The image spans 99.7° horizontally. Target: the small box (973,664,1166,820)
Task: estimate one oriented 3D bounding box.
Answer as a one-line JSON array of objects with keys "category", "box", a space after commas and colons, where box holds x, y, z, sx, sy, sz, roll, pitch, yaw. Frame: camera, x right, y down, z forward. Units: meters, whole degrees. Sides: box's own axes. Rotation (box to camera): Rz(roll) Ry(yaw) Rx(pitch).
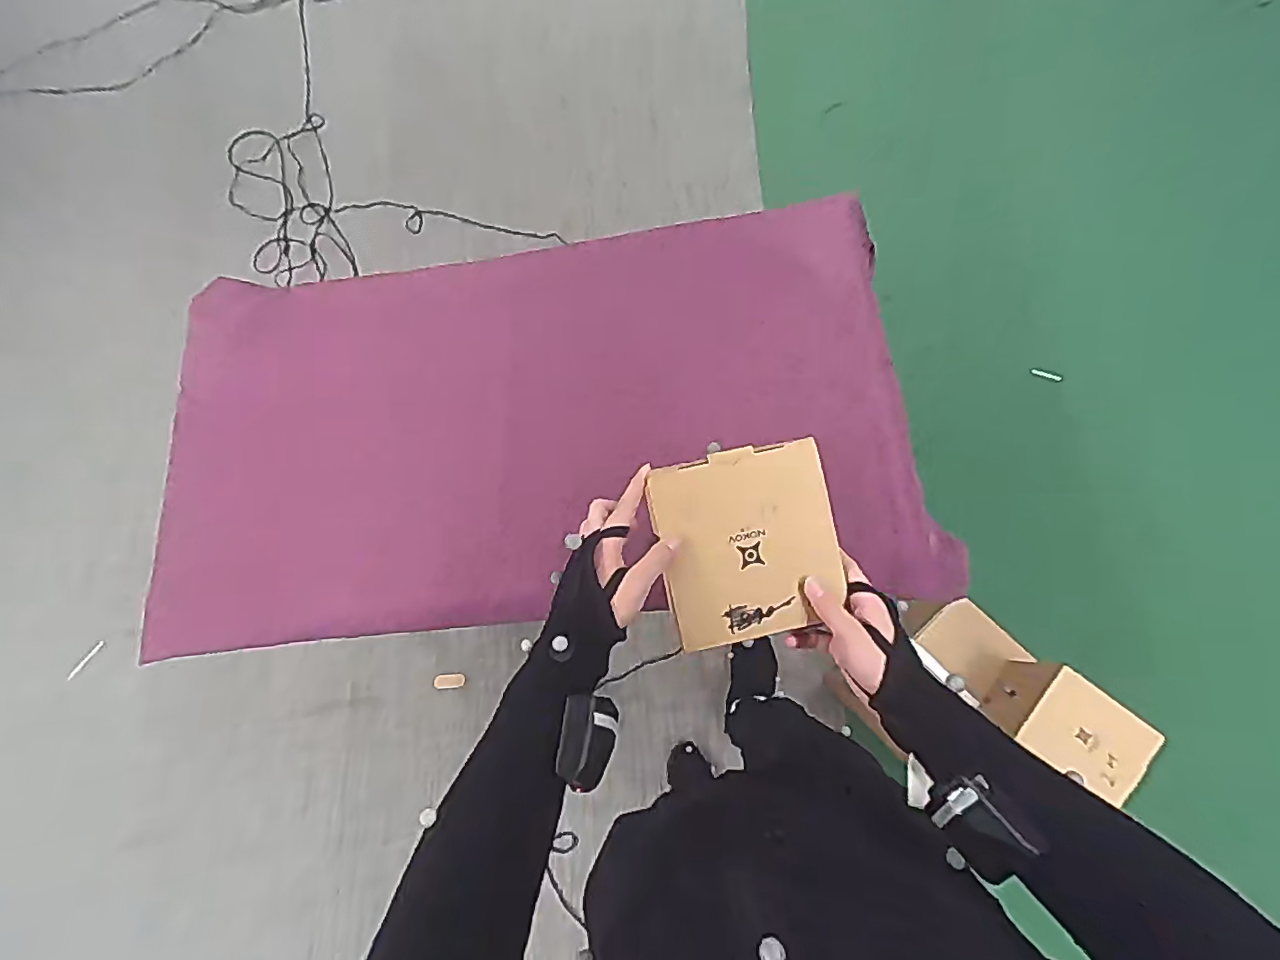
[{"category": "small box", "box": [0.740, 0.448, 0.958, 0.179, 0.176, 0.168, 40, 82, 15]}]
